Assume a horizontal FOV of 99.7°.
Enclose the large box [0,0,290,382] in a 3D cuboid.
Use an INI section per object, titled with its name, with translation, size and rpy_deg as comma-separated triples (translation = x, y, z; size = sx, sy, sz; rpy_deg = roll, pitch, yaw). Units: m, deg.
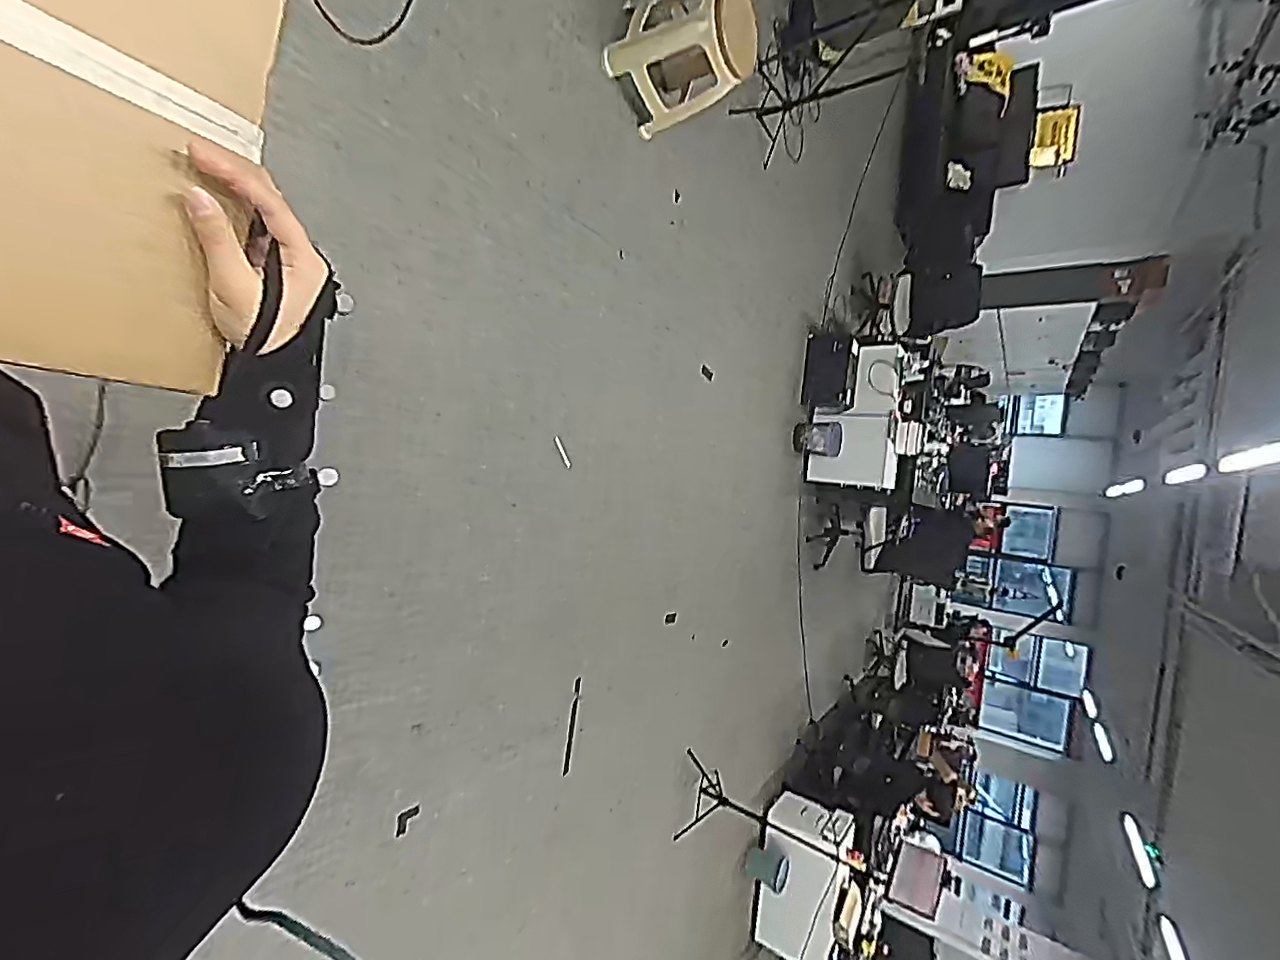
[large box]
translation = -0.472, -0.253, 0.268
size = 0.408, 0.320, 0.320
rpy_deg = 7, 98, -56
